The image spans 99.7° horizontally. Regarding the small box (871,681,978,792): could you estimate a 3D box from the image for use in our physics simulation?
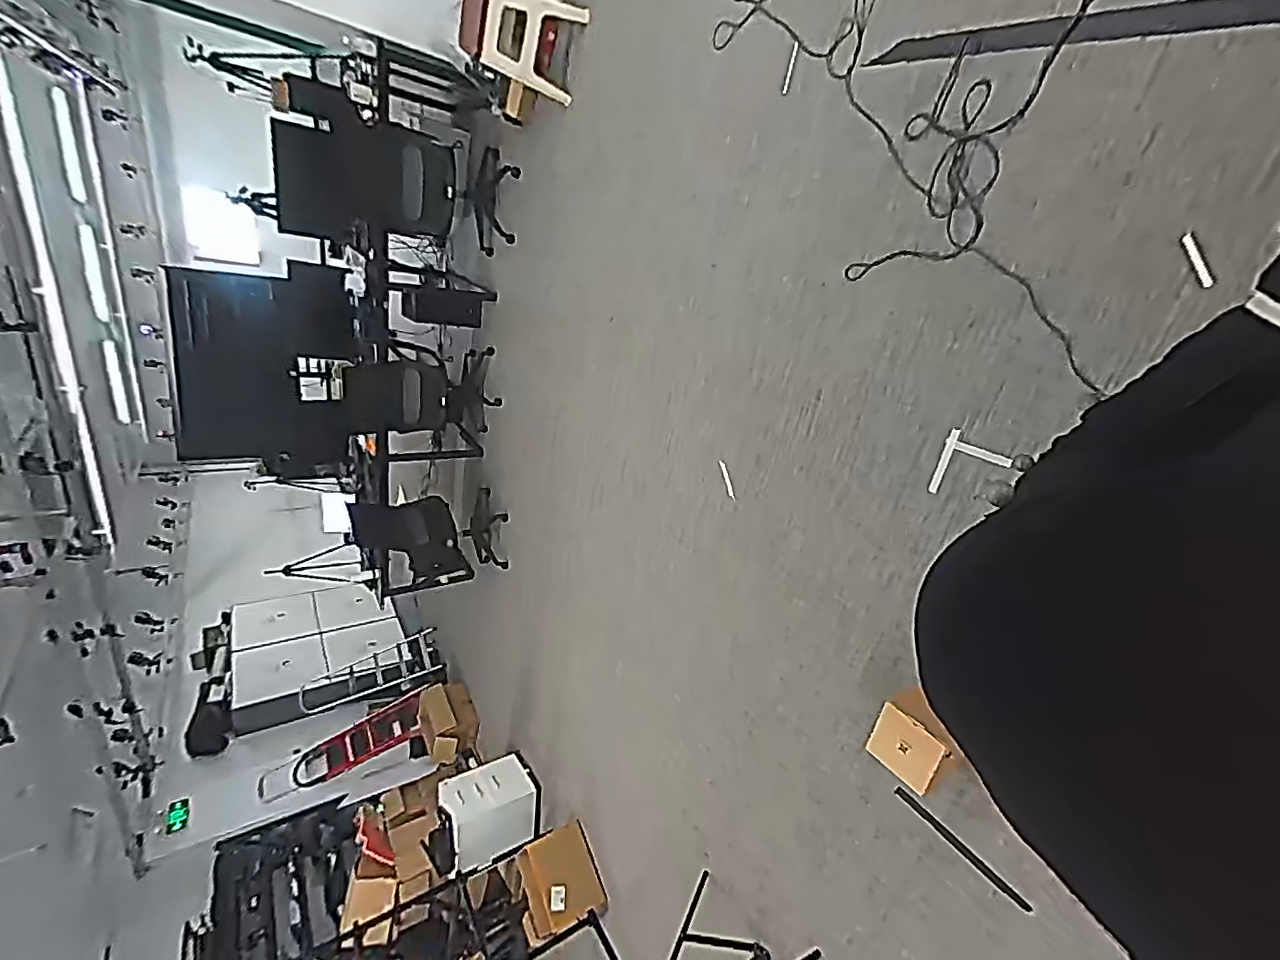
[{"bbox_3d":[0.748,0.664,1.419,0.168,0.176,0.179,35,122,47],"label":"small box"}]
